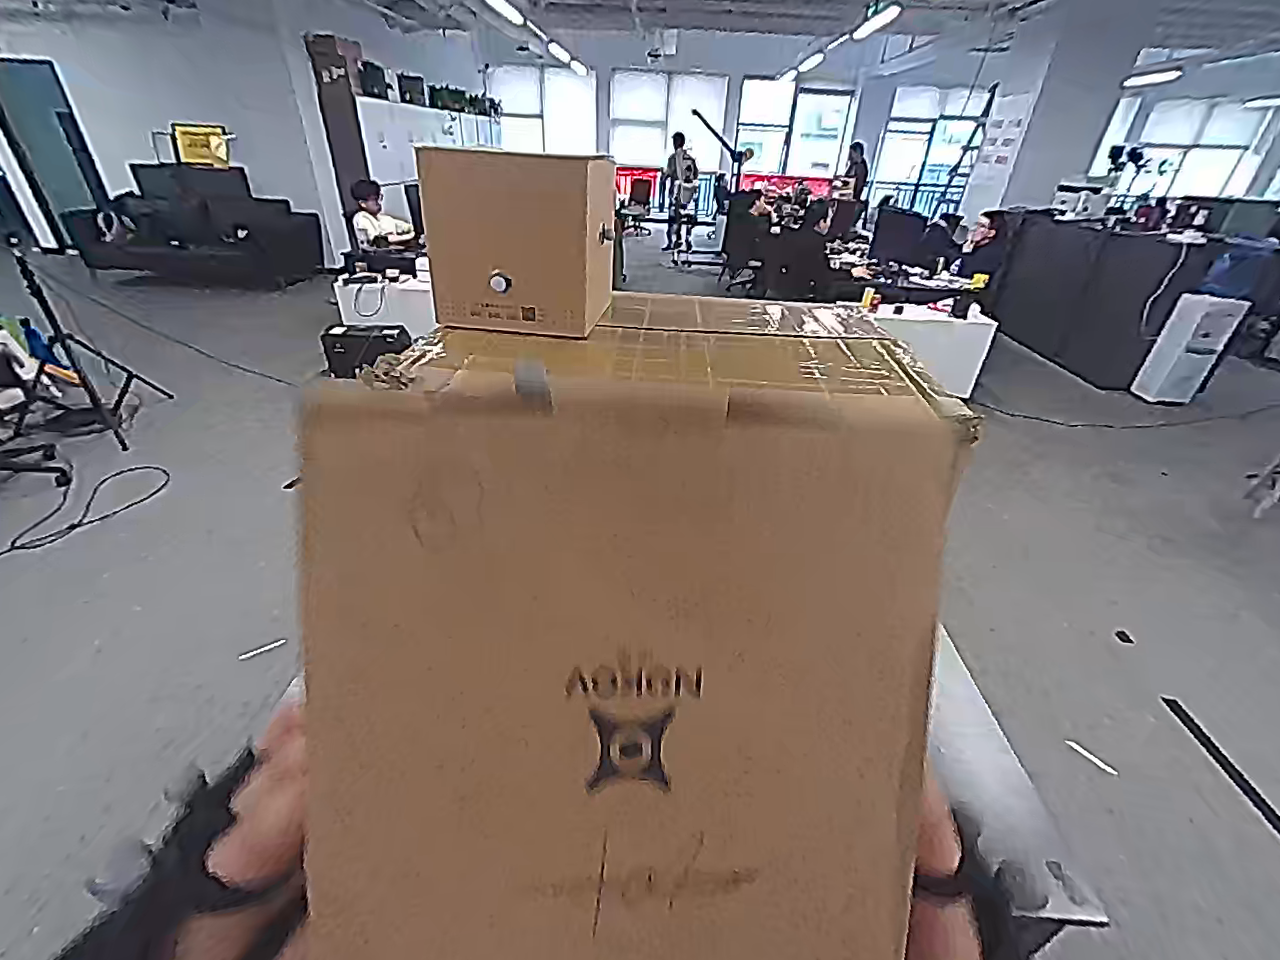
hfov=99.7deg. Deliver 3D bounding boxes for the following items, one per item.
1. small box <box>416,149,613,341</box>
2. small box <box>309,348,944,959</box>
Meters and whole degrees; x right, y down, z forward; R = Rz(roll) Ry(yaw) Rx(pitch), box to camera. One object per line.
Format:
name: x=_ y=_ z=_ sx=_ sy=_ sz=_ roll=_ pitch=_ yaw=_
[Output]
small box: x=-0.126 y=-0.268 z=0.610 sx=0.168 sy=0.176 sz=0.179 roll=5 pitch=31 yaw=4
small box: x=-0.008 y=0.045 z=0.227 sx=0.168 sy=0.179 sz=0.176 roll=0 pitch=8 yaw=-4
